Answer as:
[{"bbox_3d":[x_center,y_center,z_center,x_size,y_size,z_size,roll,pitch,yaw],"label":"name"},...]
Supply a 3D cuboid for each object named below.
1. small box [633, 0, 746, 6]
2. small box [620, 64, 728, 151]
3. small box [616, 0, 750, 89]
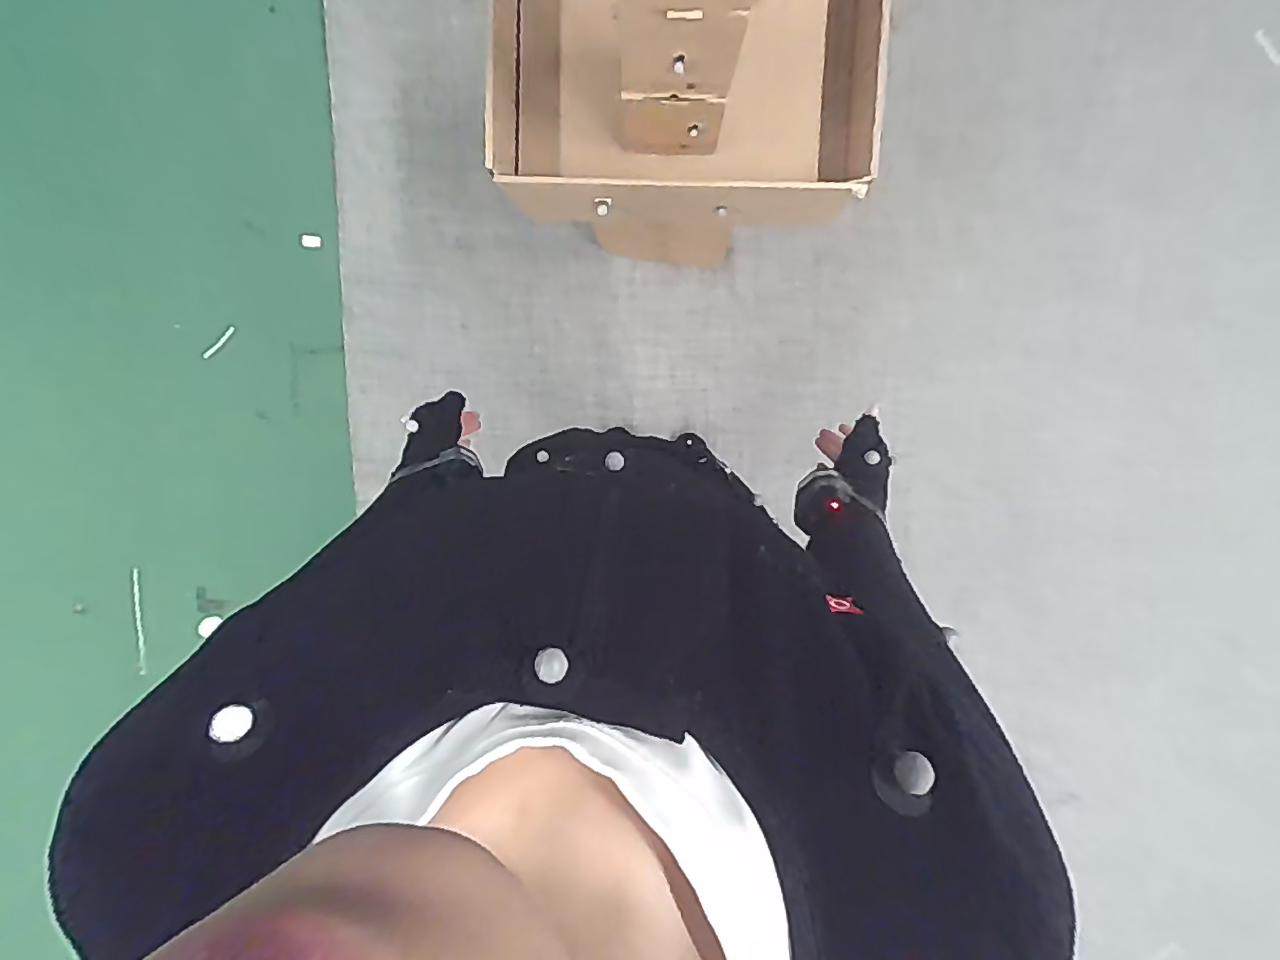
[{"bbox_3d":[0.057,-0.642,0.562,0.179,0.176,0.168,-1,96,-1],"label":"small box"},{"bbox_3d":[0.055,-0.671,0.890,0.168,0.176,0.179,1,94,0],"label":"small box"},{"bbox_3d":[0.056,-0.663,0.726,0.168,0.176,0.179,1,97,0],"label":"small box"}]
